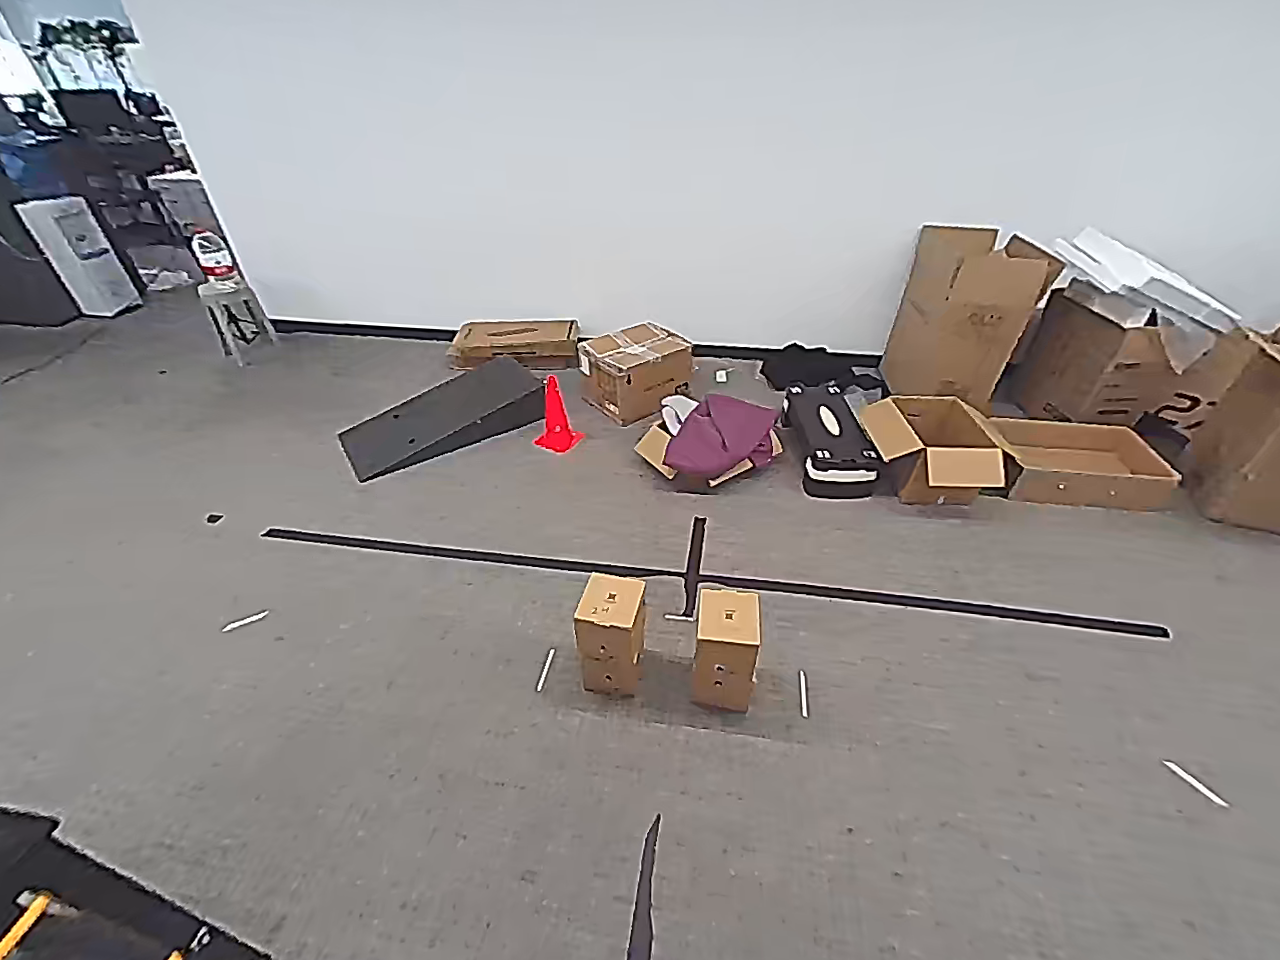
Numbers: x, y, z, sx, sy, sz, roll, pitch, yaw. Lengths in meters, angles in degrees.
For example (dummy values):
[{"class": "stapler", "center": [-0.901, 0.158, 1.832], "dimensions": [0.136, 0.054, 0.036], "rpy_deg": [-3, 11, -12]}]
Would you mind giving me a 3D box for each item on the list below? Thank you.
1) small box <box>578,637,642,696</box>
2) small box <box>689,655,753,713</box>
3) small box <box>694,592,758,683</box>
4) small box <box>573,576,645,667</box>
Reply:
[{"class": "small box", "center": [-0.085, 0.542, 1.665], "dimensions": [0.168, 0.176, 0.179], "rpy_deg": [5, 39, 7]}, {"class": "small box", "center": [0.245, 0.573, 1.625], "dimensions": [0.179, 0.176, 0.168], "rpy_deg": [8, 39, 9]}, {"class": "small box", "center": [0.240, 0.443, 1.527], "dimensions": [0.168, 0.176, 0.179], "rpy_deg": [3, 39, 7]}, {"class": "small box", "center": [-0.085, 0.409, 1.566], "dimensions": [0.168, 0.176, 0.179], "rpy_deg": [8, 39, 12]}]
